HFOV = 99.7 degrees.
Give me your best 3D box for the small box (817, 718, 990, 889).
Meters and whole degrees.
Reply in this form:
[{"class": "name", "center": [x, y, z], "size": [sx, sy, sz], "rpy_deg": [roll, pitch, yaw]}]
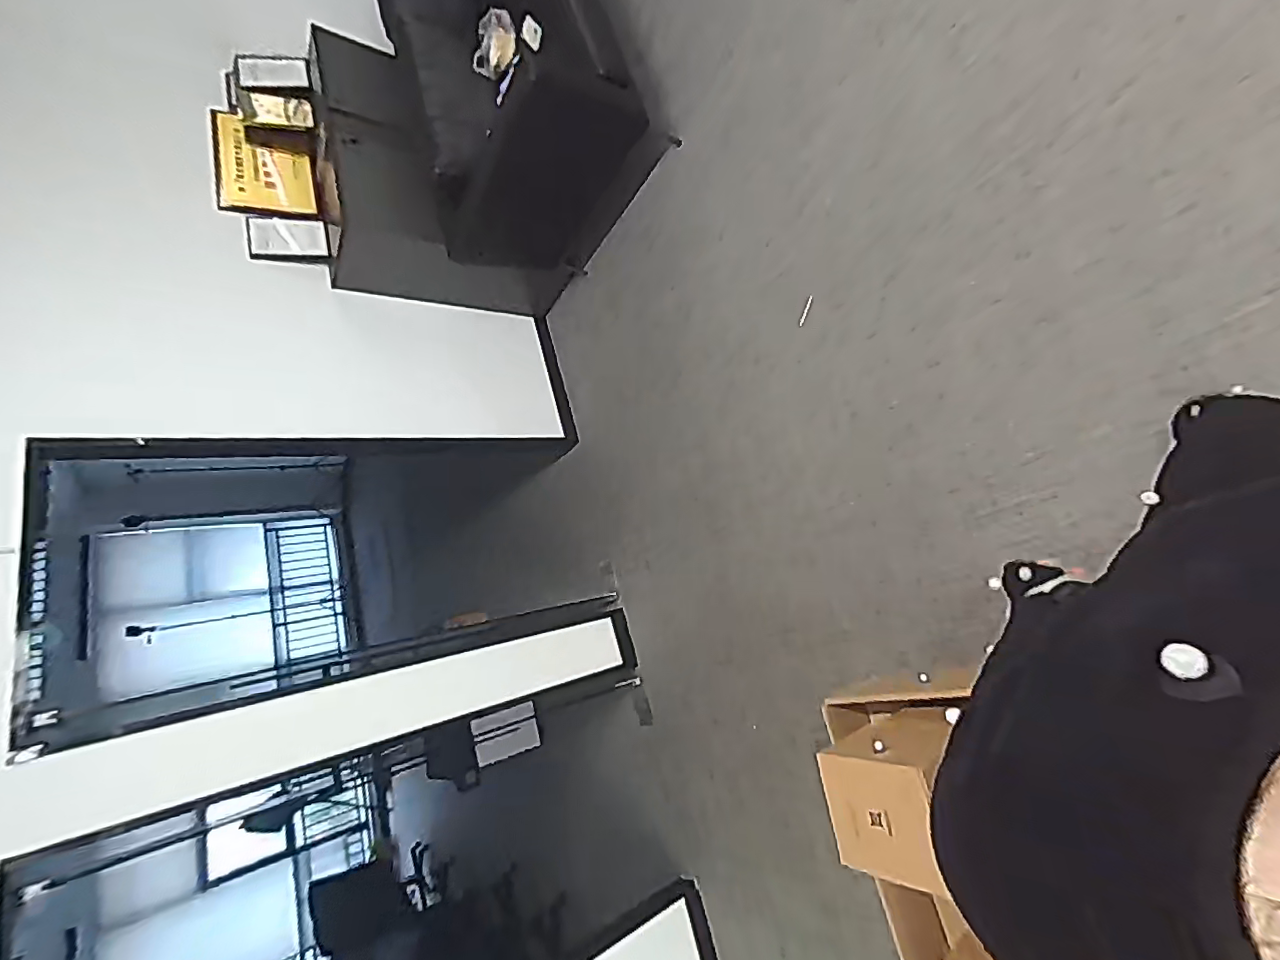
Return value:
[{"class": "small box", "center": [0.415, 0.485, 0.846], "size": [0.179, 0.176, 0.168], "rpy_deg": [-24, 72, 52]}]
